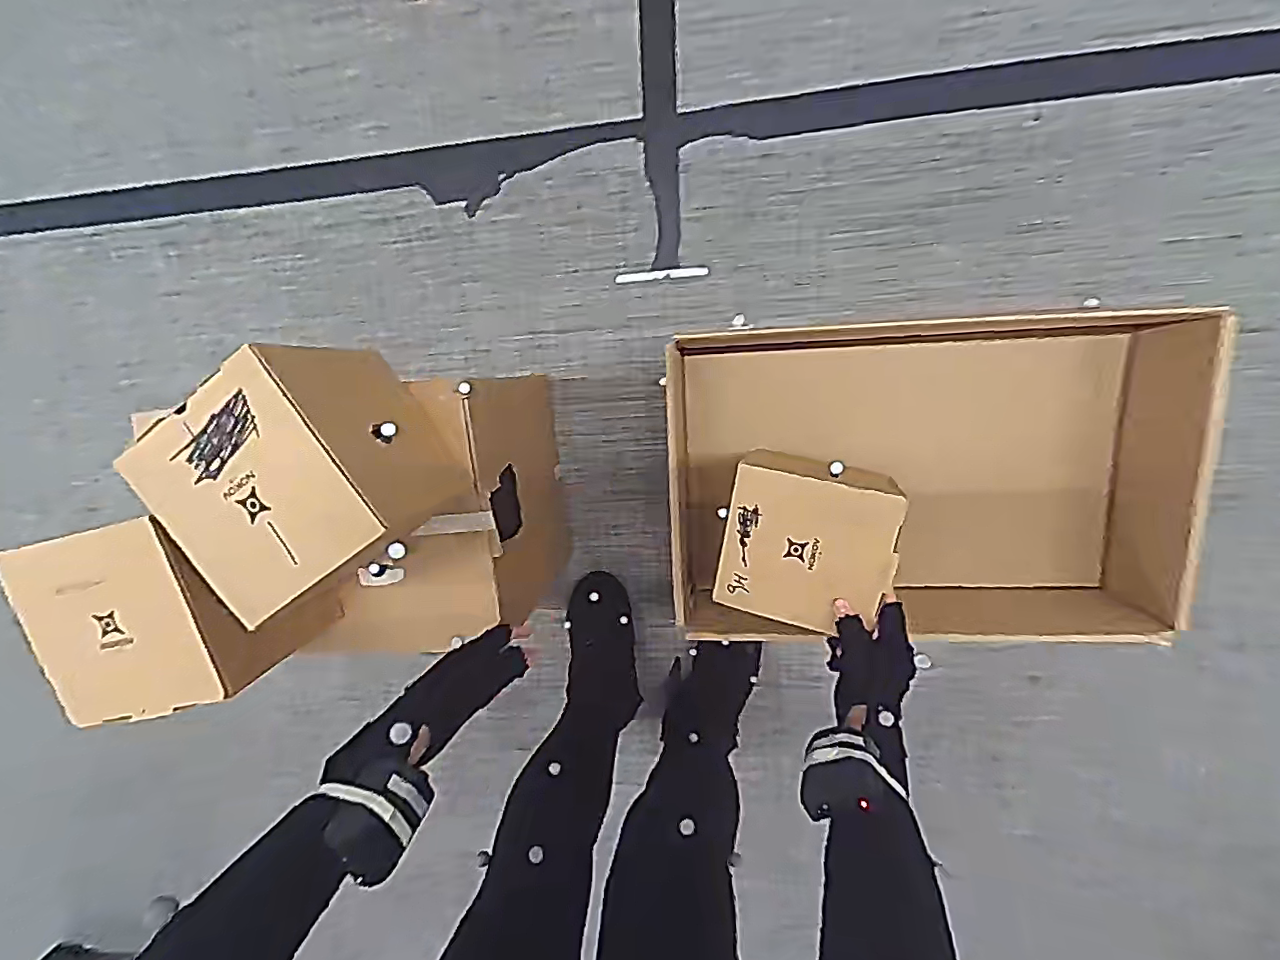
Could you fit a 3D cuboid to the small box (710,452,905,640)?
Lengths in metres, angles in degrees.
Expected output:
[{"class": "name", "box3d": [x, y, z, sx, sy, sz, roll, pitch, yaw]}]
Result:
[{"class": "small box", "box3d": [0.197, 0.064, 0.654, 0.179, 0.176, 0.168, 11, 101, 16]}]

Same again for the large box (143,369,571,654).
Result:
[{"class": "large box", "box3d": [-0.342, 0.023, 0.763, 0.408, 0.320, 0.320, -5, 102, 7]}]

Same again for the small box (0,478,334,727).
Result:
[{"class": "small box", "box3d": [-0.451, 0.111, 0.545, 0.168, 0.176, 0.179, -13, 99, 7]}]
